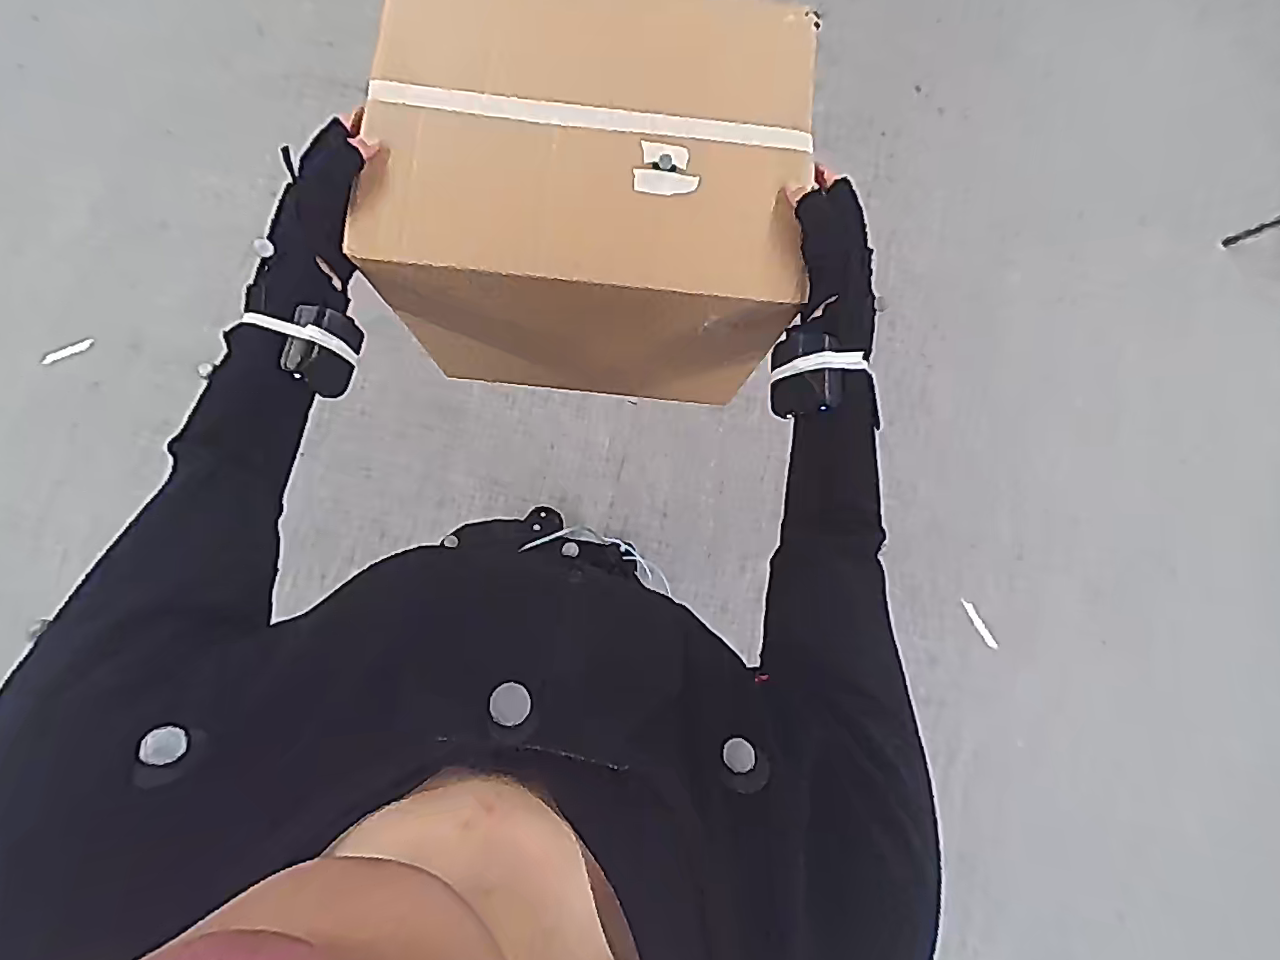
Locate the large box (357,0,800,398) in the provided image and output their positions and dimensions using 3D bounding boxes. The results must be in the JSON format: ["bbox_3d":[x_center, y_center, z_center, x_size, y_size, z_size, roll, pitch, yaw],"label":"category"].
[{"bbox_3d":[-0.057,-0.305,0.656,0.408,0.320,0.320,5,81,-4],"label":"large box"}]
